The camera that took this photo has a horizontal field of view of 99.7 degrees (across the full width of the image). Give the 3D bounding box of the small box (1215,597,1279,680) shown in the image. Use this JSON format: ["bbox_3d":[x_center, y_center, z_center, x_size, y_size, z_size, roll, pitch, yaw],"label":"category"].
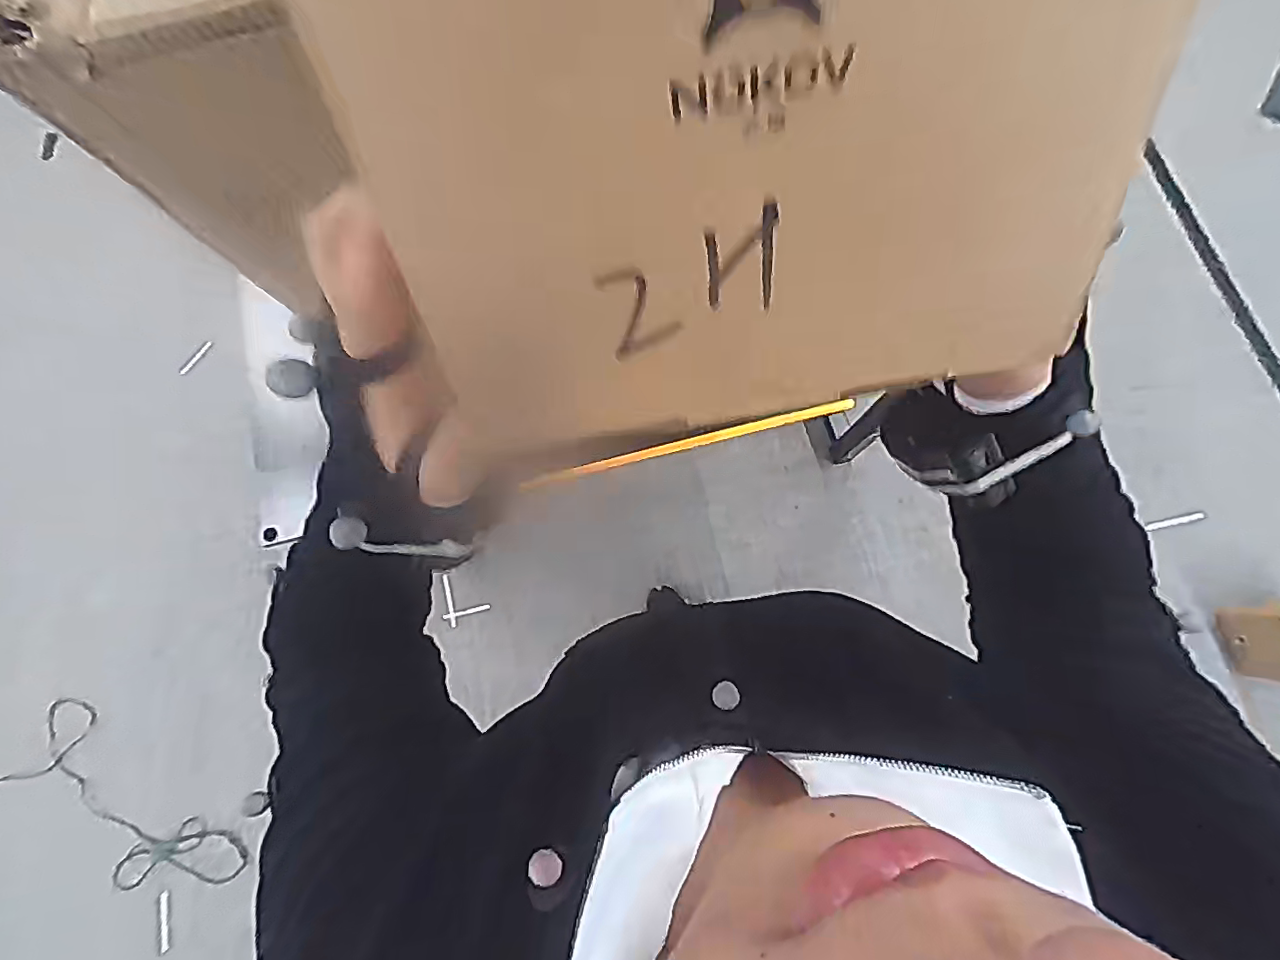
[{"bbox_3d":[1.581,0.381,1.305,0.179,0.176,0.168,-14,76,2],"label":"small box"}]

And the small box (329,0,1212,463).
[{"bbox_3d":[0.022,-0.134,0.167,0.168,0.179,0.176,-9,38,3],"label":"small box"}]
